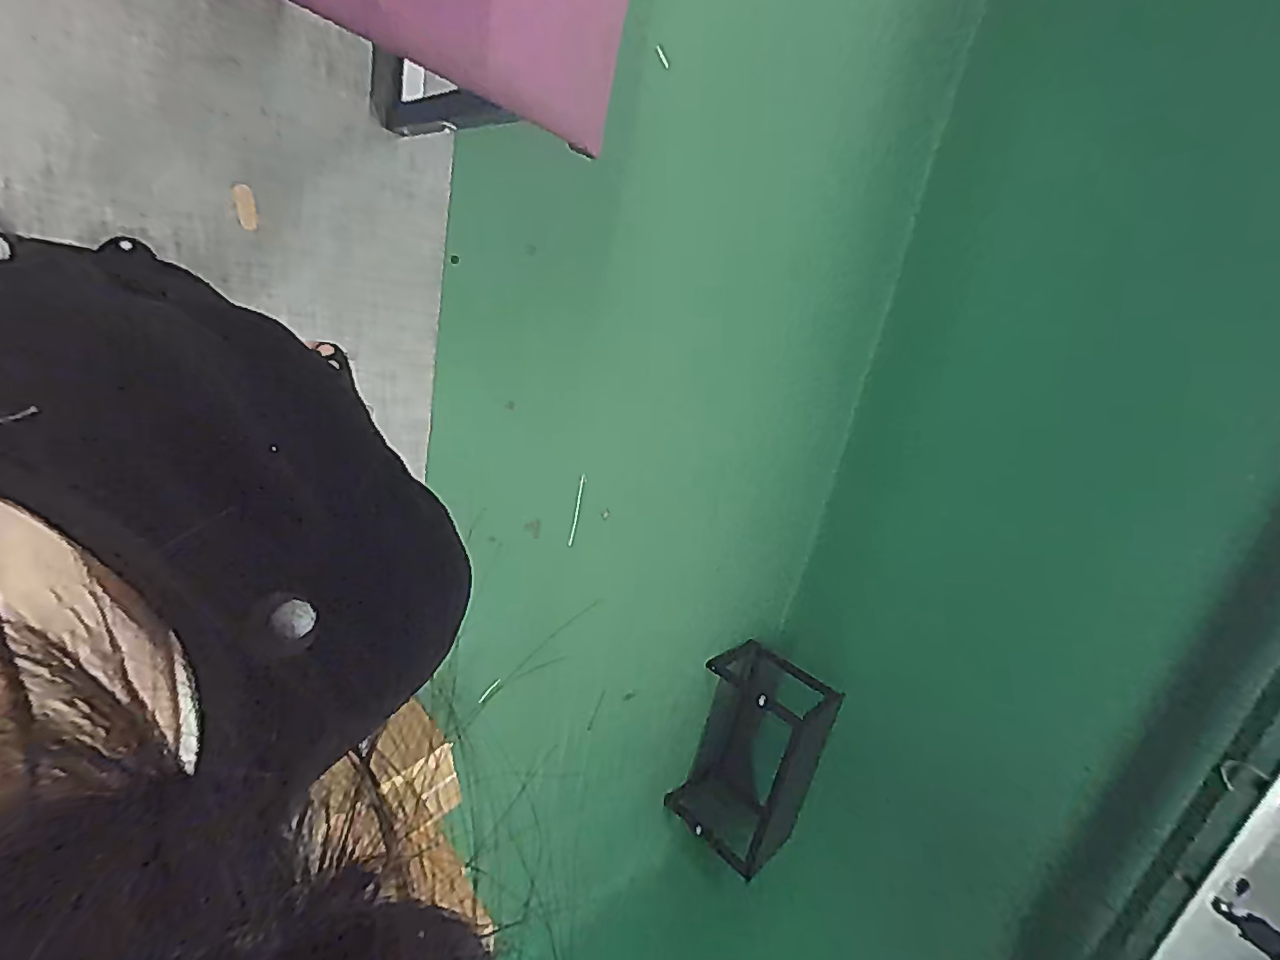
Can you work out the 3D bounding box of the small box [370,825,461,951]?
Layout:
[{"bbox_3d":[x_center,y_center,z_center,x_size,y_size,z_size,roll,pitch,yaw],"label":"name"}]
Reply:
[{"bbox_3d":[-0.607,1.094,1.466,0.179,0.176,0.168,-16,121,-43],"label":"small box"}]

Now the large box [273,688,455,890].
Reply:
[{"bbox_3d":[-0.878,0.971,1.747,0.408,0.320,0.320,-25,128,-41],"label":"large box"}]

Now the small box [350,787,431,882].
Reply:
[{"bbox_3d":[-0.719,1.033,1.566,0.168,0.176,0.179,-17,122,-43],"label":"small box"}]
